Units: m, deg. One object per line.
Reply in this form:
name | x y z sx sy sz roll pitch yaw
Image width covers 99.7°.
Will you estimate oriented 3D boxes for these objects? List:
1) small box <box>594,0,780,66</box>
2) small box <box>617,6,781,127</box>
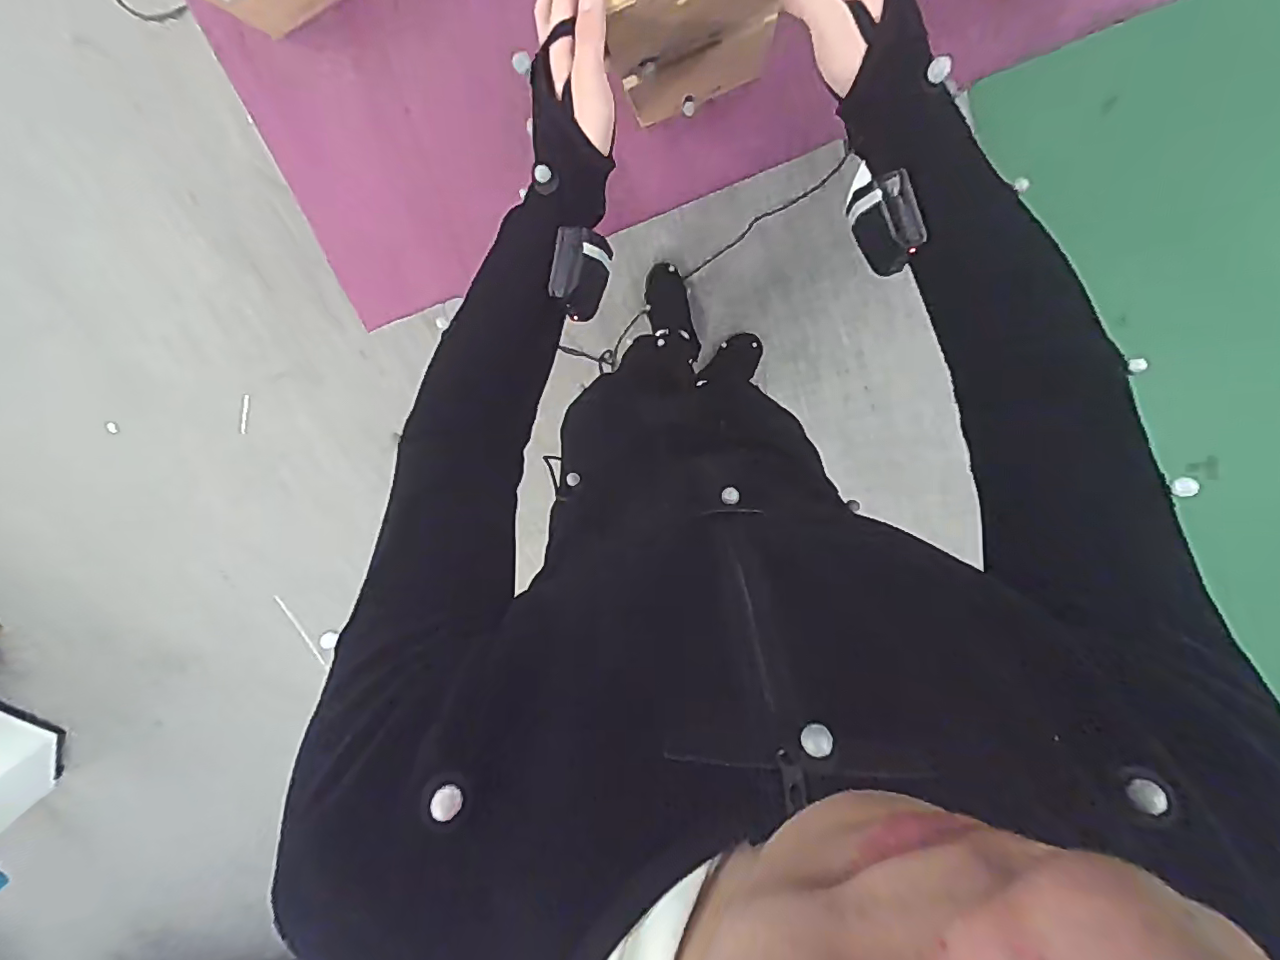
small box | 0.027 -0.465 0.424 0.168 0.176 0.179 -16 110 10
small box | 0.043 -0.531 0.594 0.168 0.176 0.179 -16 108 13
